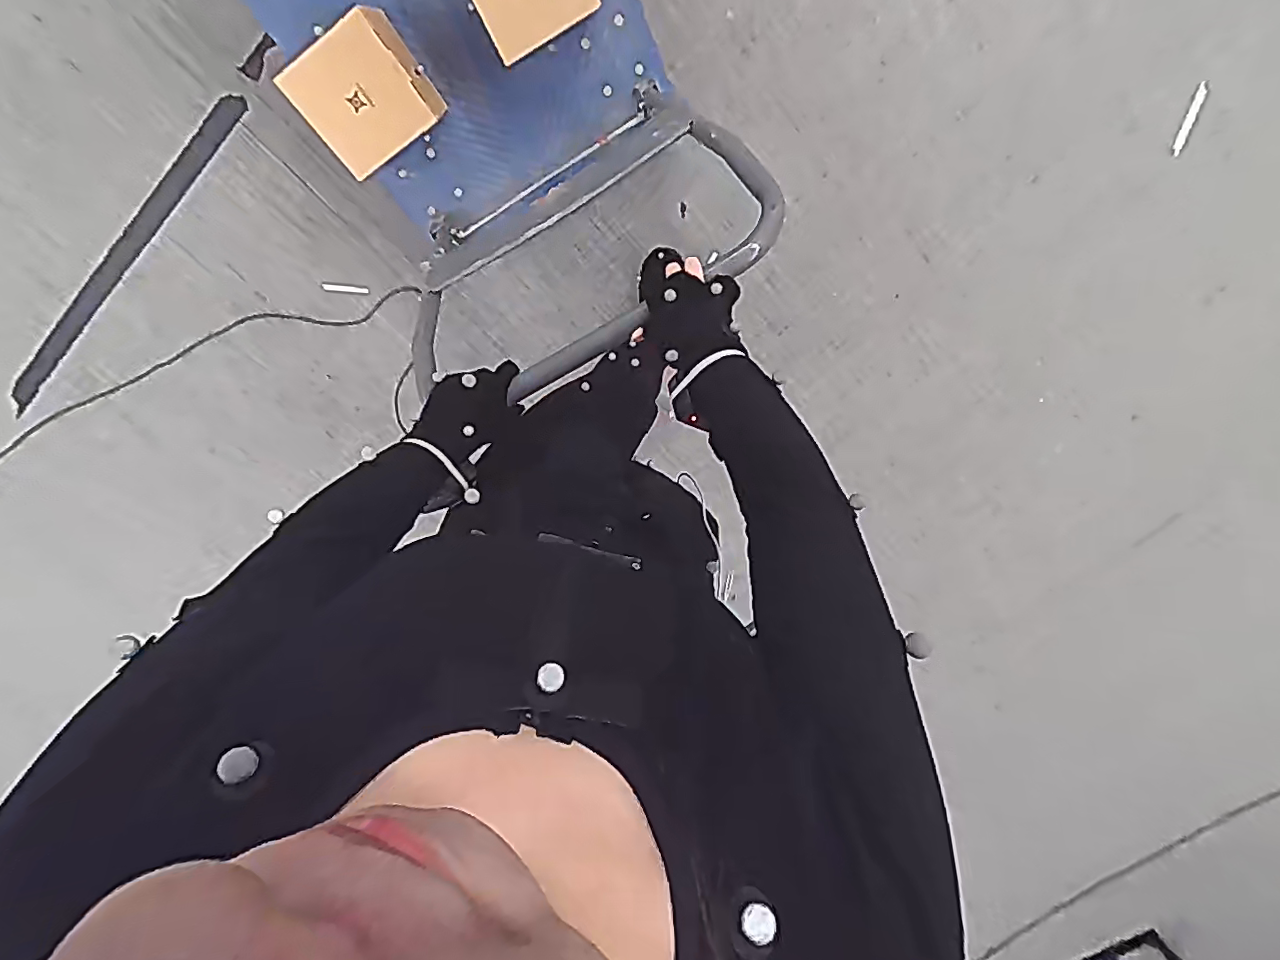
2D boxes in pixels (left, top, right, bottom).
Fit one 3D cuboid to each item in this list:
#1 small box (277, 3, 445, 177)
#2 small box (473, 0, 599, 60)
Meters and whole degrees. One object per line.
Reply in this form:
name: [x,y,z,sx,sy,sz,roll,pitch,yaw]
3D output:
small box: [-0.453,-0.650,0.912,0.179,0.176,0.168,-31,128,12]
small box: [-0.179,-0.795,0.846,0.179,0.176,0.168,-25,130,10]
